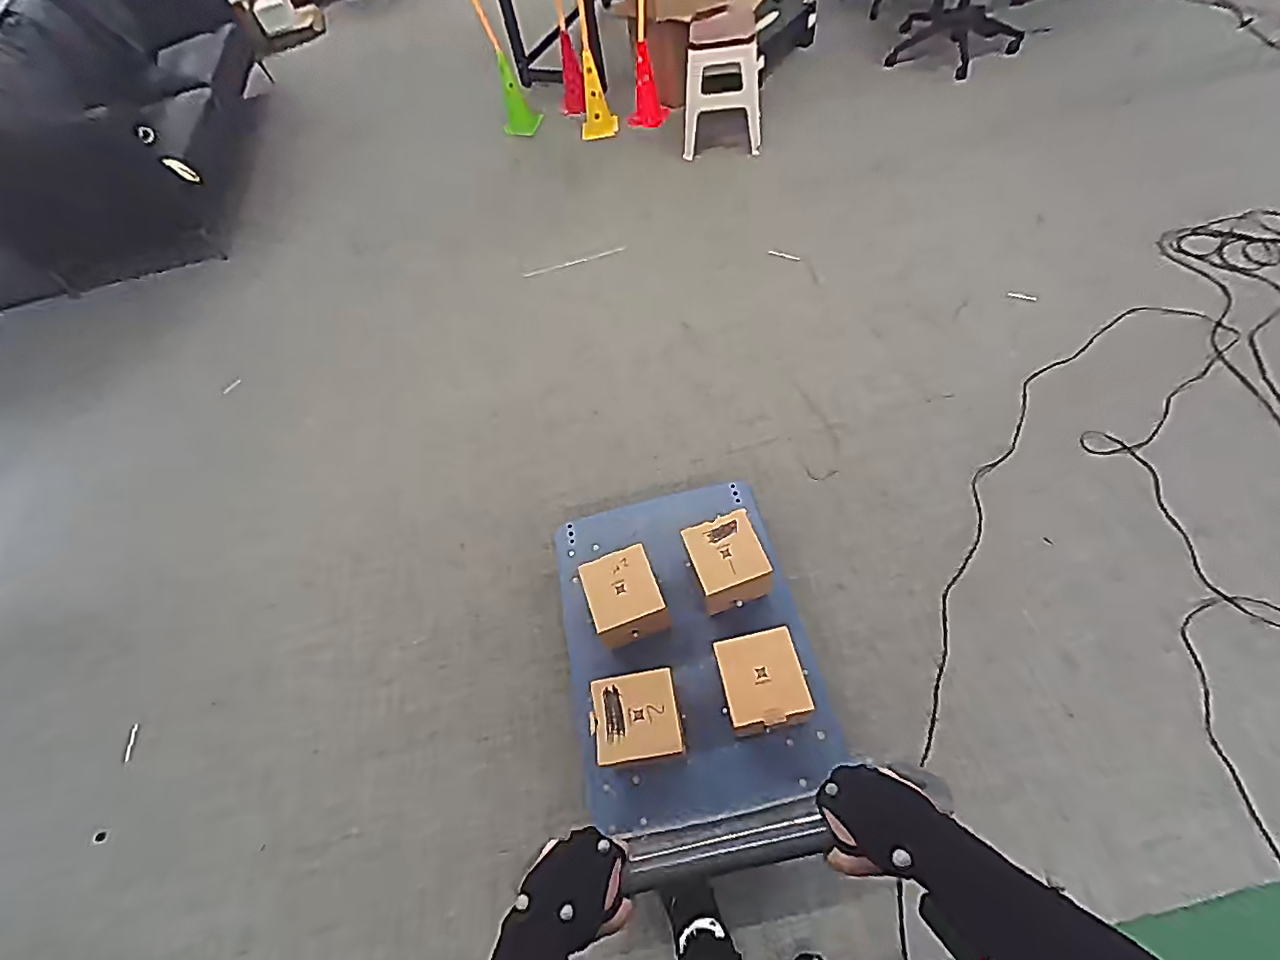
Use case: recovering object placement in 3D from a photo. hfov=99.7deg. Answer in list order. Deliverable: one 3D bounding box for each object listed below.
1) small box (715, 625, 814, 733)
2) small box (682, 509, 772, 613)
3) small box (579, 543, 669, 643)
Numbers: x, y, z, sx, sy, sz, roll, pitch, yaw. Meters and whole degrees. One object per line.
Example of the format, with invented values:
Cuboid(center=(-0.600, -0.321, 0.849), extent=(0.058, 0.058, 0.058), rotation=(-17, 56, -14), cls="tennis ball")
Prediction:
Cuboid(center=(0.265, 0.443, 1.192), extent=(0.168, 0.176, 0.179), rotation=(-14, 59, 1), cls="small box")
Cuboid(center=(0.211, 0.204, 1.341), extent=(0.168, 0.176, 0.179), rotation=(-20, 59, -2), cls="small box")
Cuboid(center=(-0.035, 0.287, 1.330), extent=(0.168, 0.176, 0.179), rotation=(-20, 59, -4), cls="small box")
